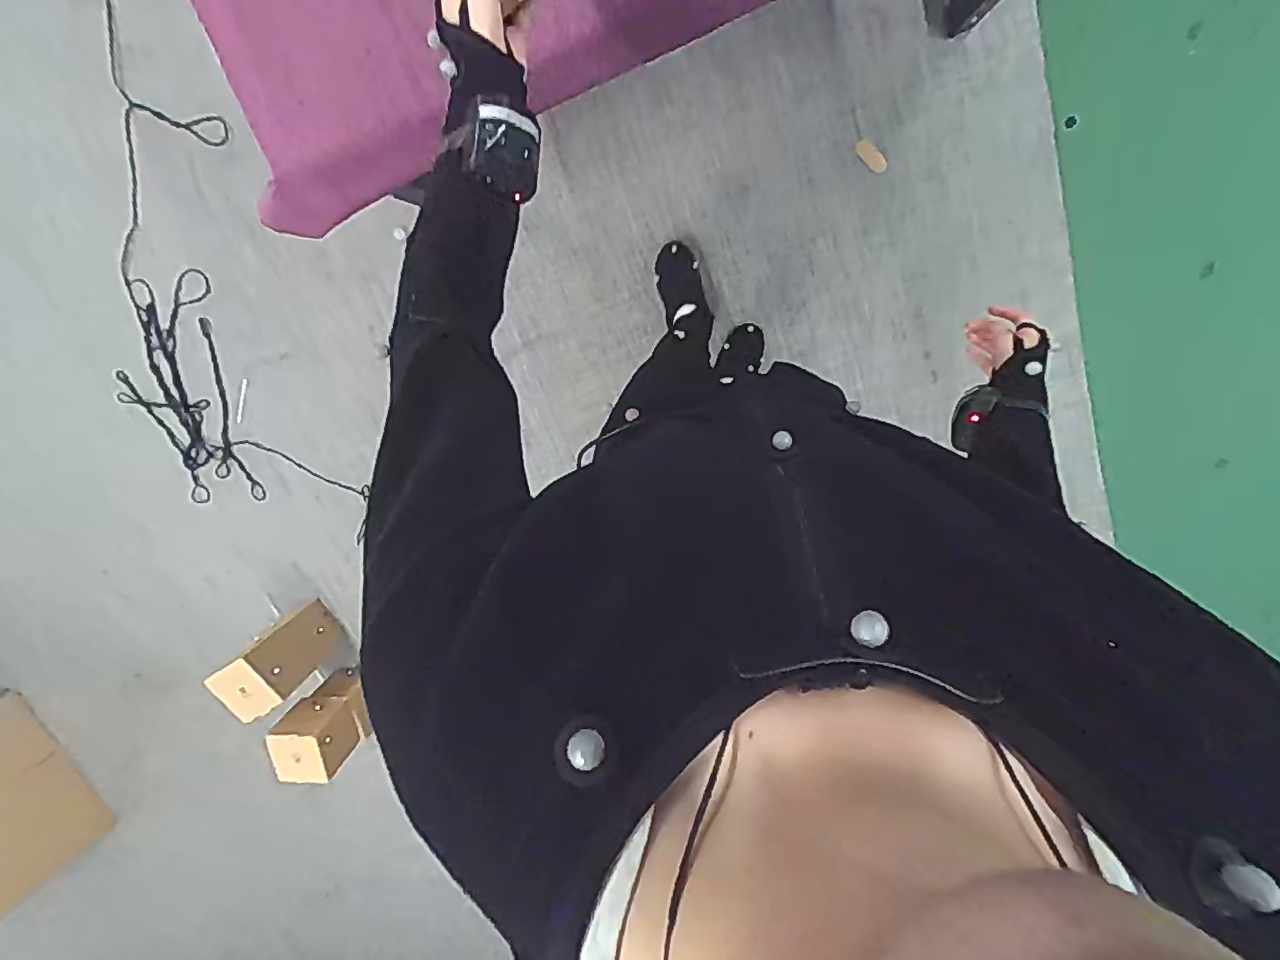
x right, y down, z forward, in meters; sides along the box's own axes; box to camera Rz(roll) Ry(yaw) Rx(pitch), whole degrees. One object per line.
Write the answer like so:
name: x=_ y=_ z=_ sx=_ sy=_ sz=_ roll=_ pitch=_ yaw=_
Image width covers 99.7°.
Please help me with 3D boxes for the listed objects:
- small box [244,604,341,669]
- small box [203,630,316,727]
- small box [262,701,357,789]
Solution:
small box: x=-1.111 y=0.529 z=1.751 sx=0.179 sy=0.176 sz=0.168 roll=-26 pitch=103 yaw=13
small box: x=-1.111 y=0.581 z=1.596 sx=0.168 sy=0.176 sz=0.179 roll=-30 pitch=103 yaw=13
small box: x=-1.005 y=0.811 z=1.661 sx=0.168 sy=0.176 sz=0.179 roll=-2 pitch=106 yaw=7
